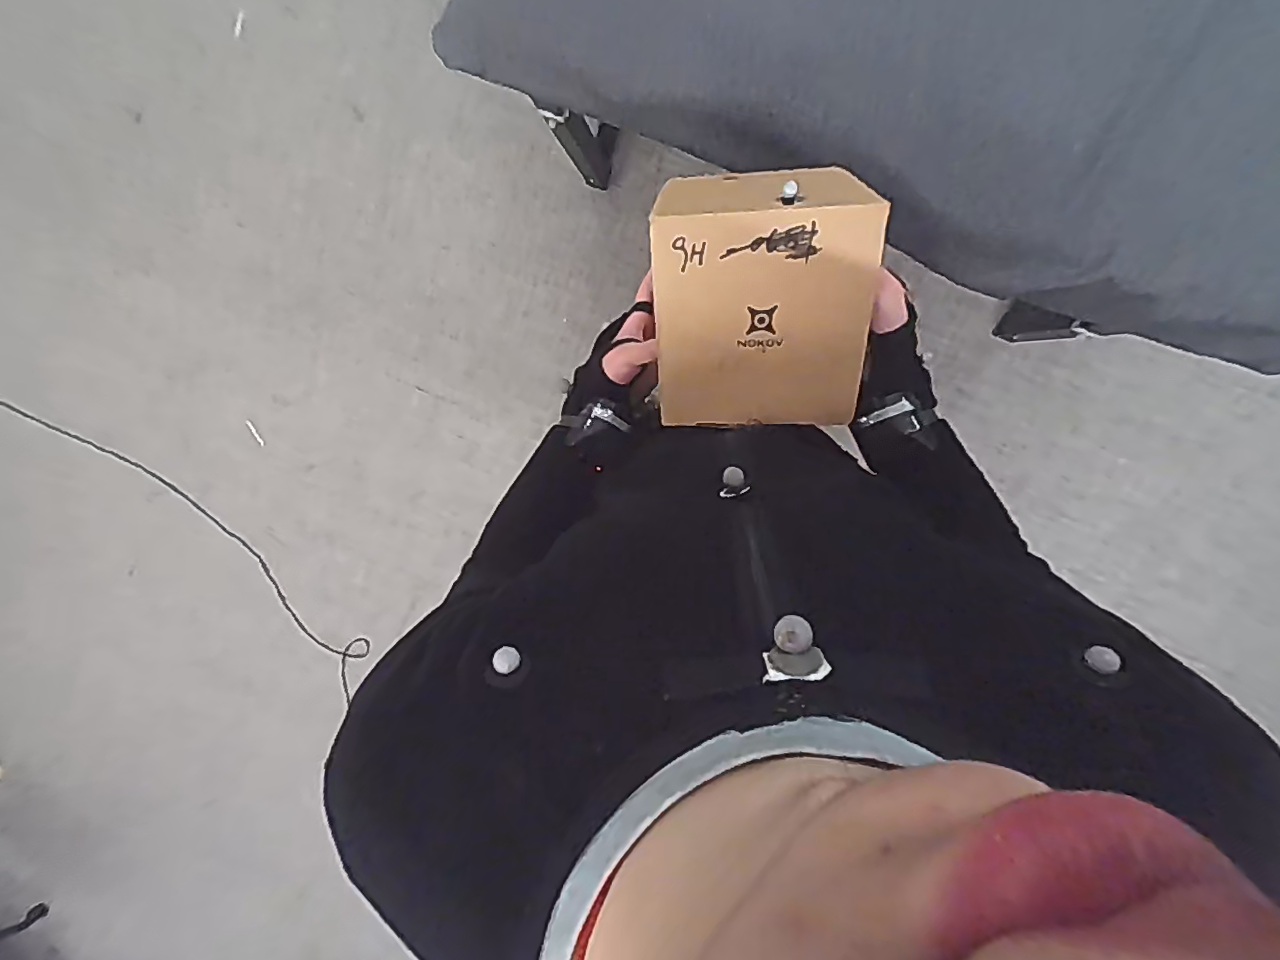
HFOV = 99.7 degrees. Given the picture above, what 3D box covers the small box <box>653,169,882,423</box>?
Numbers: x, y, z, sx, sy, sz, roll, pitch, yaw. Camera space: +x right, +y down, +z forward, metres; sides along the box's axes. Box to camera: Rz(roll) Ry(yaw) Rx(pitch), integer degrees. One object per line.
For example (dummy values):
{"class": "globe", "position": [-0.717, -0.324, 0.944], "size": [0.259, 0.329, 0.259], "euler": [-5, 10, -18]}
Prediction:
{"class": "small box", "position": [0.104, -0.171, 0.501], "size": [0.168, 0.176, 0.179], "euler": [0, 128, 7]}
